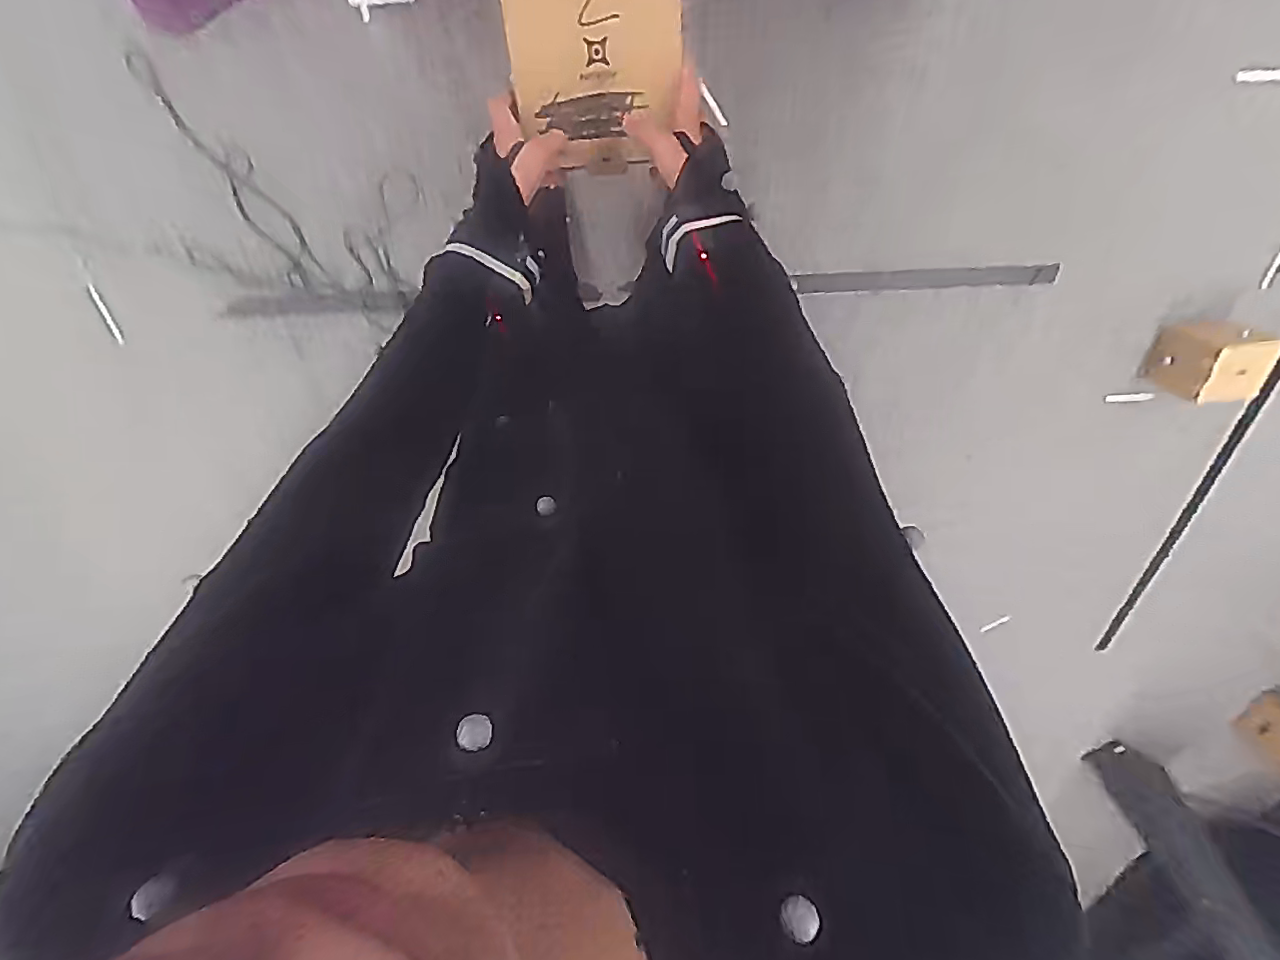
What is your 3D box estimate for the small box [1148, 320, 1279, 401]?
[{"bbox_3d":[1.599,-0.338,1.509,0.179,0.176,0.168,-6,124,3],"label":"small box"}]
